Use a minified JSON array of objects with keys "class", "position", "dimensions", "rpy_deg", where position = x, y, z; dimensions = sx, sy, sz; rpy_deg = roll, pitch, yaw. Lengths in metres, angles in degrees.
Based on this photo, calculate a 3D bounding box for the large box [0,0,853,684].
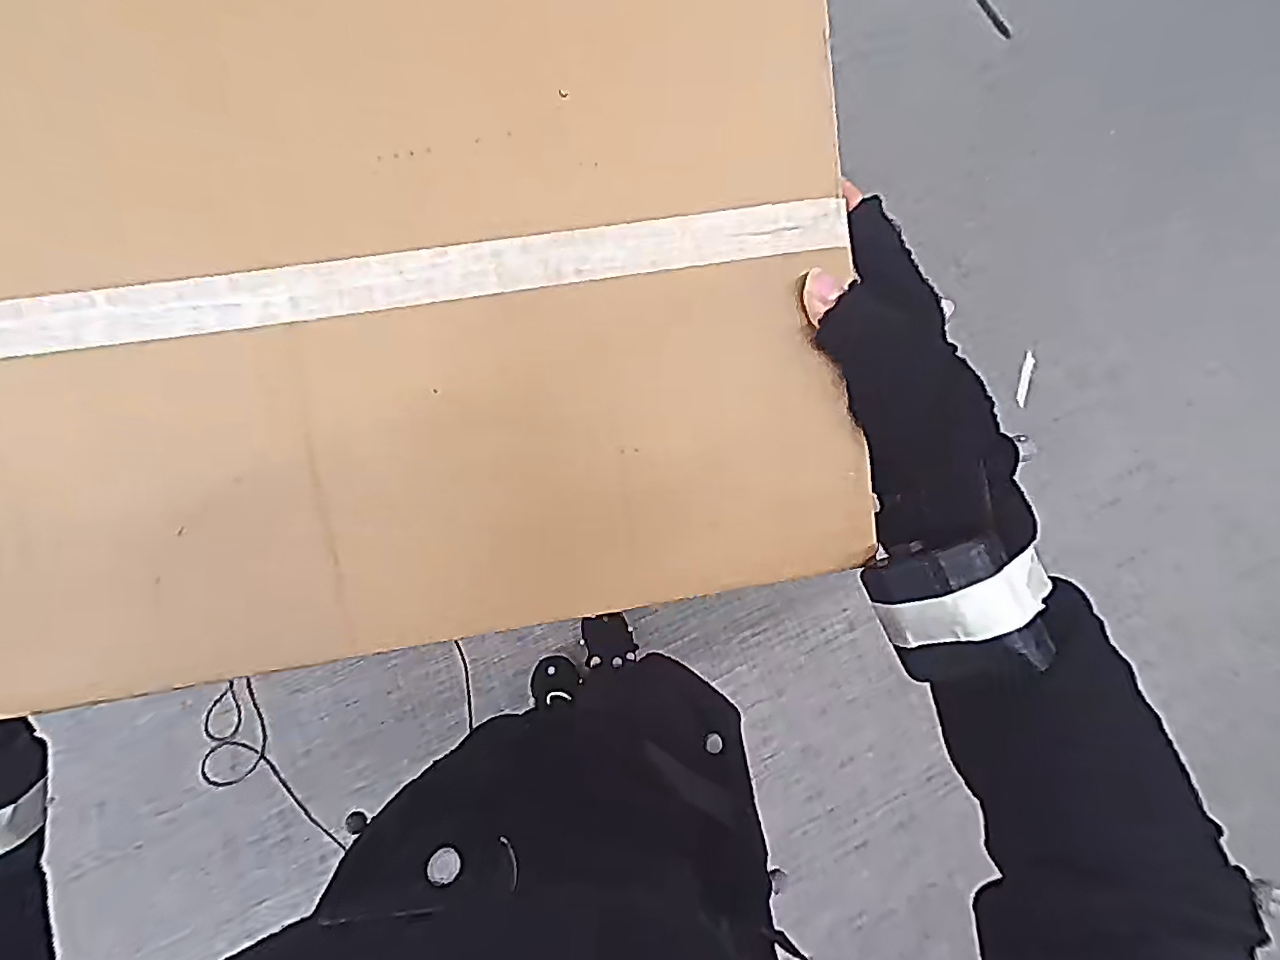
[{"class":"large box","position":[-0.120,-0.107,0.383],"dimensions":[0.408,0.320,0.320],"rpy_deg":[-8,97,-5]}]
